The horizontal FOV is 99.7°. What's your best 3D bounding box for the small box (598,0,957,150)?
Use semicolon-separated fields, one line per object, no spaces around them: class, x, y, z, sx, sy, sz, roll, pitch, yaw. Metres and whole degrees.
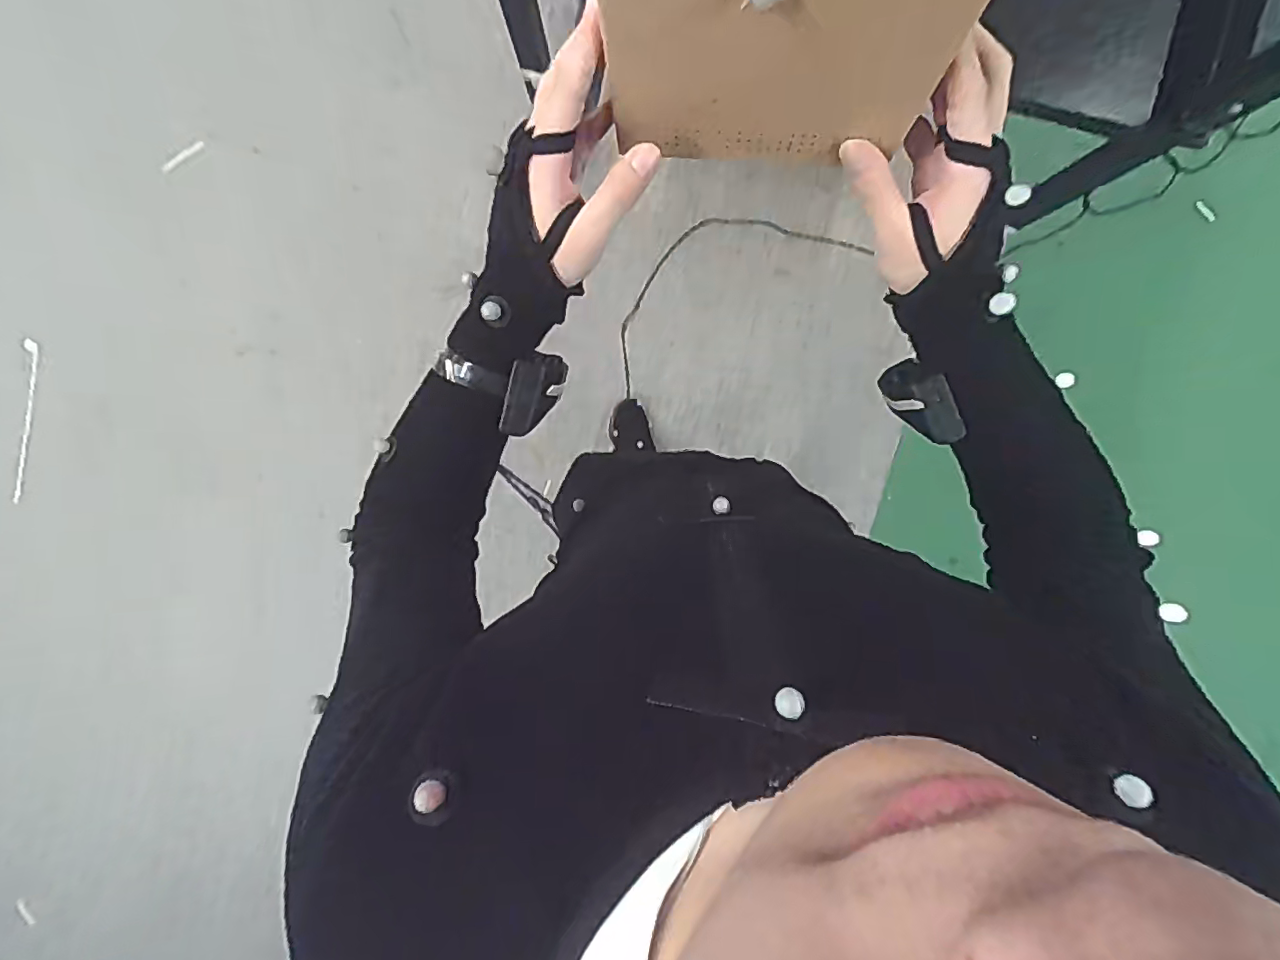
small box;0.071;-0.296;0.267;0.179;0.176;0.168;6;88;4
